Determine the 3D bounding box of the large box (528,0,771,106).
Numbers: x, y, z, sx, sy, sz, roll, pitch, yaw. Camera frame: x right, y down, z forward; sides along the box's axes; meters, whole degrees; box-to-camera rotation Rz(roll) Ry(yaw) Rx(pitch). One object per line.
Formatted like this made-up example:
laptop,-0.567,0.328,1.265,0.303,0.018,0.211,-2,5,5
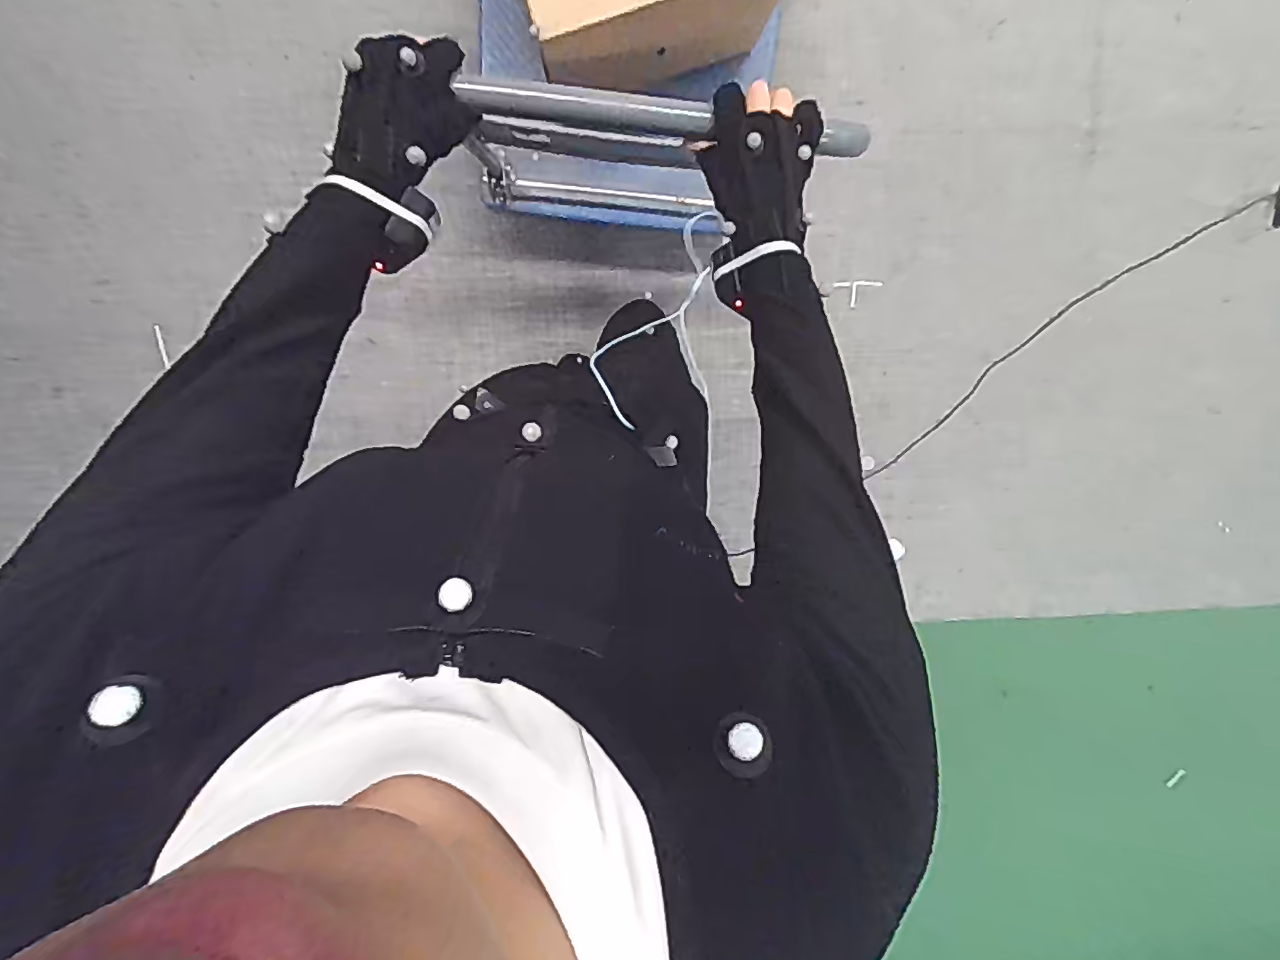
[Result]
large box,-0.005,-0.897,0.890,0.408,0.320,0.320,-17,107,4
